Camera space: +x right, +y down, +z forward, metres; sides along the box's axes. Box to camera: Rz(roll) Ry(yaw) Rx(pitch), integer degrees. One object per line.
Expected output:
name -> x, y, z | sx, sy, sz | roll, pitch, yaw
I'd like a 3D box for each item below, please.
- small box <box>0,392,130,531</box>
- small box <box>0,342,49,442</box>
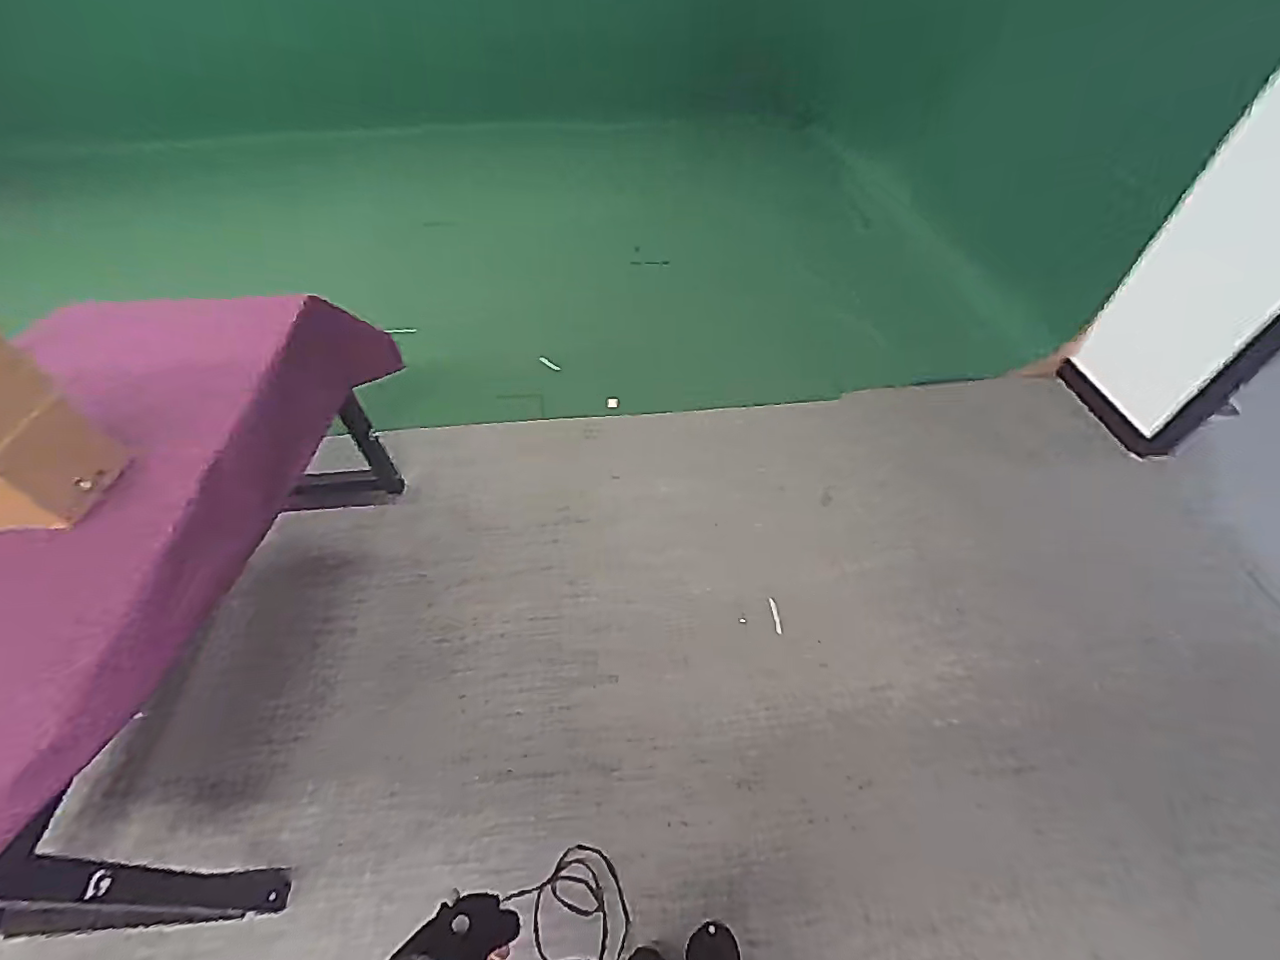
small box -> -1.022, -0.028, 0.887 | 0.179, 0.176, 0.168 | 0, 52, 1
small box -> -1.028, -0.135, 0.765 | 0.168, 0.176, 0.179 | -1, 51, 0
